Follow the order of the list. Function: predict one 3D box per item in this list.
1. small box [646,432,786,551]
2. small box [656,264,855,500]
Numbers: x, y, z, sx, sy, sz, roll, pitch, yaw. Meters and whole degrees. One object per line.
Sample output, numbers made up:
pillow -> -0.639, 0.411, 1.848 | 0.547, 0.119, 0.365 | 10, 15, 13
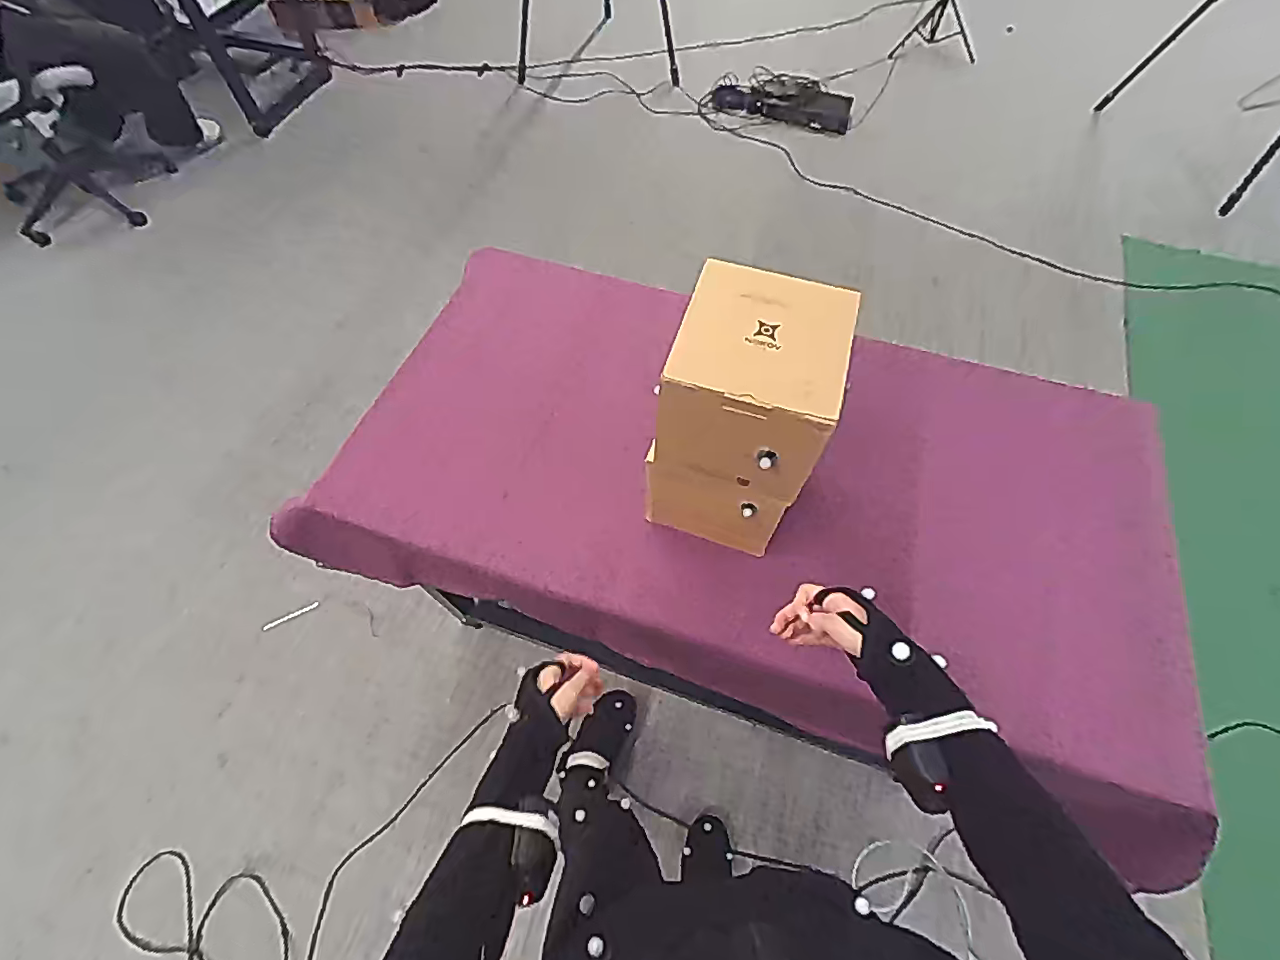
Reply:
small box -> 0.113, -0.022, 0.745 | 0.179, 0.176, 0.168 | 18, 61, 9
small box -> 0.120, -0.101, 0.603 | 0.168, 0.176, 0.179 | 17, 60, 8
